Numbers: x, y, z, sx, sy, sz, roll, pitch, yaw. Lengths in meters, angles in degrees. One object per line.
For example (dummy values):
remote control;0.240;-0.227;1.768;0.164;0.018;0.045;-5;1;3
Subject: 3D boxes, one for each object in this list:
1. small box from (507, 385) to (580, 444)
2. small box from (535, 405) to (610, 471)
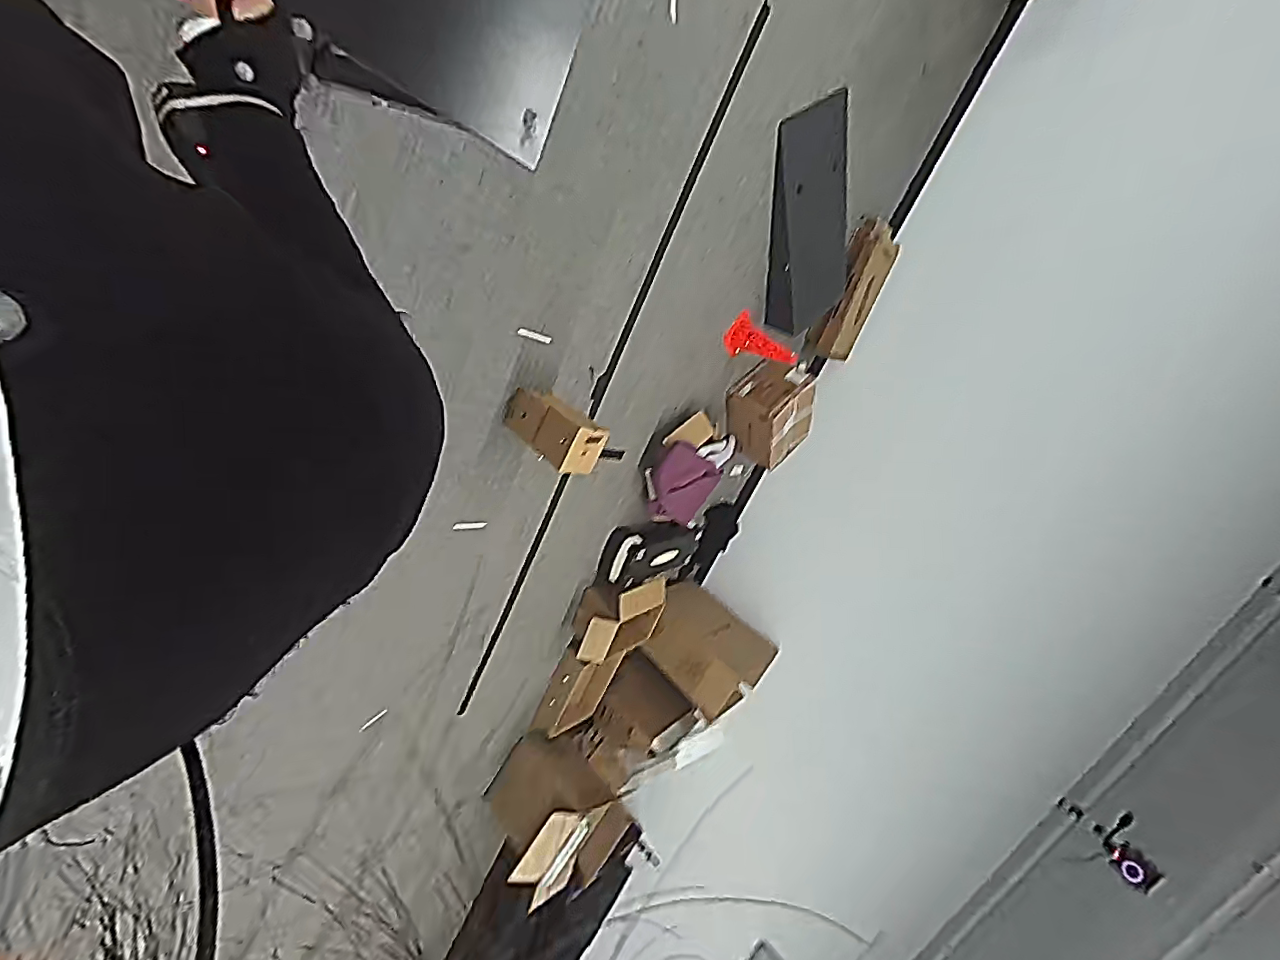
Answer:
small box;-0.362;-0.236;2.003;0.179;0.176;0.168;5;116;-55
small box;-0.244;-0.150;1.925;0.168;0.176;0.179;4;118;-55
